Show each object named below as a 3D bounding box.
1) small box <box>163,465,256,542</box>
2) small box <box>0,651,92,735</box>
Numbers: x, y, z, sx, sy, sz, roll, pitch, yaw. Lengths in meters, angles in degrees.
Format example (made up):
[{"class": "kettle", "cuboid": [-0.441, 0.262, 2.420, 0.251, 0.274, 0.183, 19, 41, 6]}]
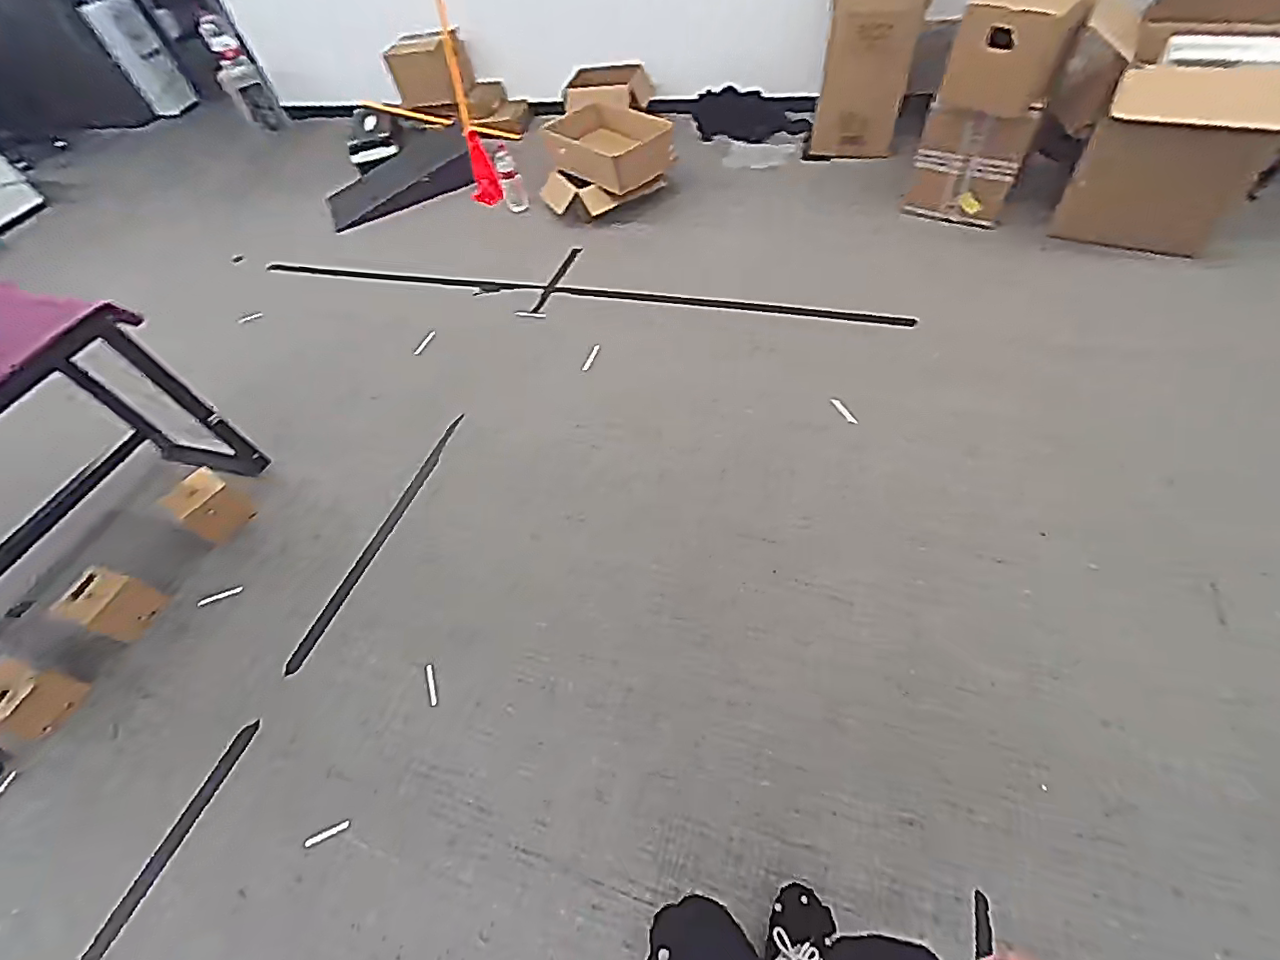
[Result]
[{"class": "small box", "cuboid": [-1.511, 0.085, 1.916, 0.168, 0.176, 0.179, 27, 64, 25]}, {"class": "small box", "cuboid": [-1.772, 0.622, 1.566, 0.179, 0.176, 0.168, 12, 57, 18]}]
